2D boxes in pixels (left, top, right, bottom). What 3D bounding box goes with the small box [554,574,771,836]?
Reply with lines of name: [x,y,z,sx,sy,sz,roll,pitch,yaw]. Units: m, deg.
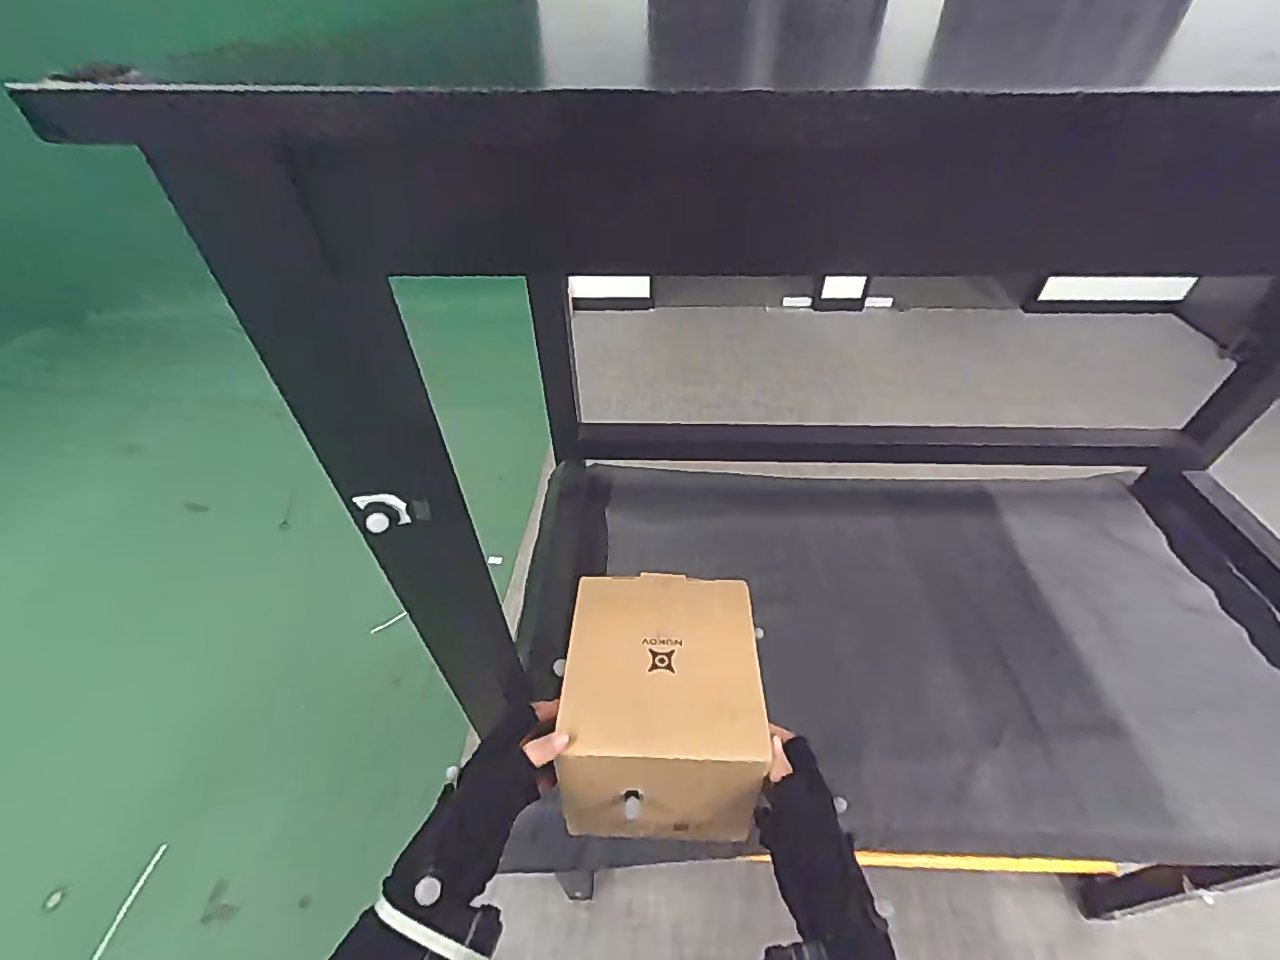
small box: [0.021,0.211,0.512,0.168,0.176,0.179,1,36,1]
